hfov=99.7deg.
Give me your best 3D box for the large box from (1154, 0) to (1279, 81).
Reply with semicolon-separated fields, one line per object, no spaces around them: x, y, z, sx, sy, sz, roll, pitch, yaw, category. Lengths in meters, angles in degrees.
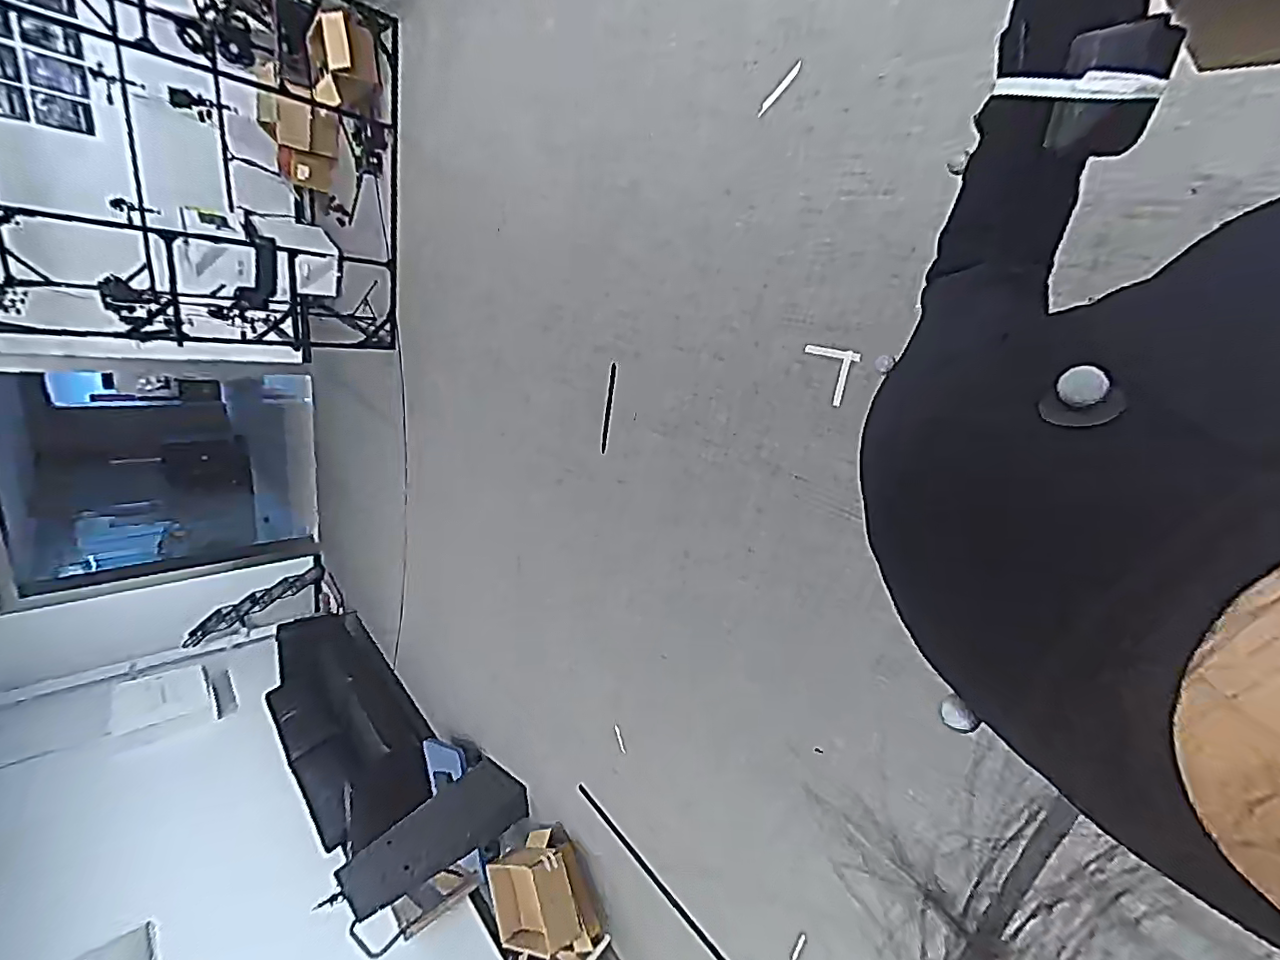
0.521;-0.394;0.203;0.408;0.320;0.320;26;125;40;large box
